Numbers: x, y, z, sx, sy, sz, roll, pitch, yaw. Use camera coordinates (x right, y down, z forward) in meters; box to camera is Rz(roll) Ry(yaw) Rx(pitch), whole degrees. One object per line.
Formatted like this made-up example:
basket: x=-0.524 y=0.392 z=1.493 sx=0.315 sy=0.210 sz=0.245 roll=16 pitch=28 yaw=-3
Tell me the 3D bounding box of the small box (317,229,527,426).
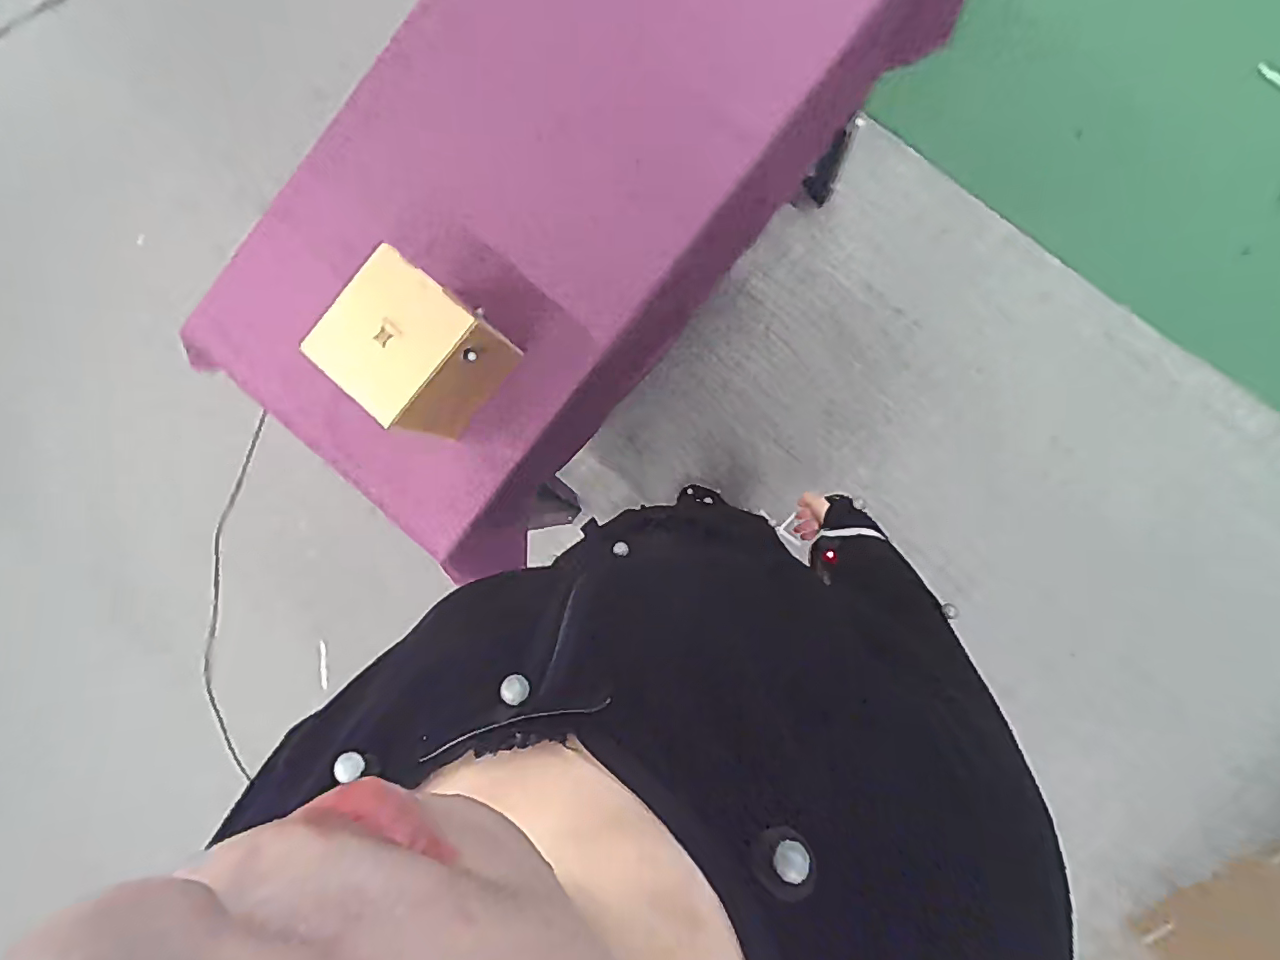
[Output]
small box: x=-0.288 y=-0.196 z=0.753 sx=0.168 sy=0.176 sz=0.179 roll=45 pitch=93 yaw=8
